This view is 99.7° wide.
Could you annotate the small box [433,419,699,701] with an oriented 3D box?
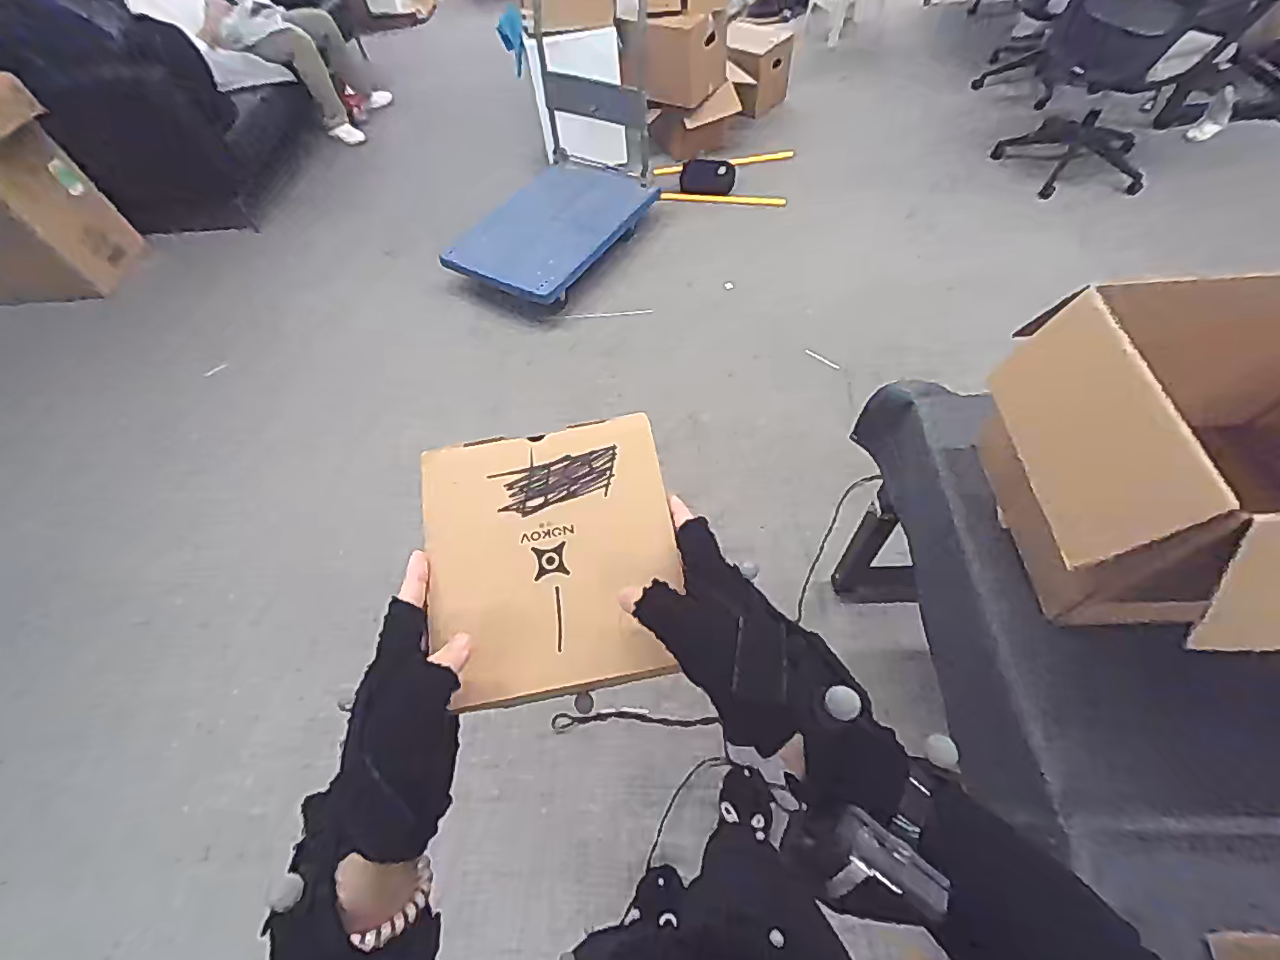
[{"bbox_3d":[-0.057,0.075,0.439,0.168,0.176,0.179,-10,69,-3],"label":"small box"}]
